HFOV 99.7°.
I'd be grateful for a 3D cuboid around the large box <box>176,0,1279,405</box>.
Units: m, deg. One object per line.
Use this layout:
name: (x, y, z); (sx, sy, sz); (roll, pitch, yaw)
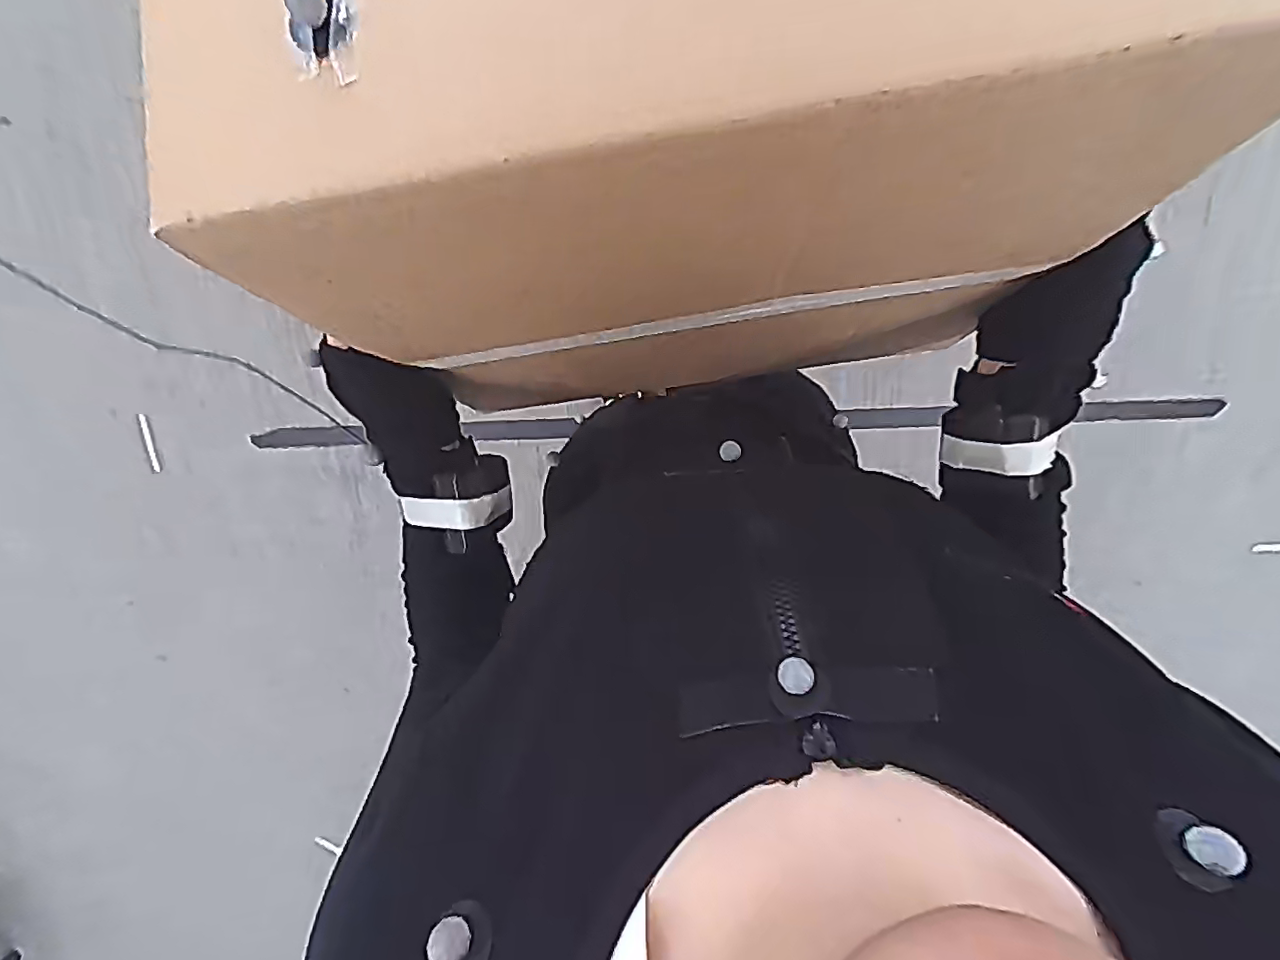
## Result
large box: (0.024, -0.257, 0.340); (0.408, 0.320, 0.320); (-8, 85, 4)
